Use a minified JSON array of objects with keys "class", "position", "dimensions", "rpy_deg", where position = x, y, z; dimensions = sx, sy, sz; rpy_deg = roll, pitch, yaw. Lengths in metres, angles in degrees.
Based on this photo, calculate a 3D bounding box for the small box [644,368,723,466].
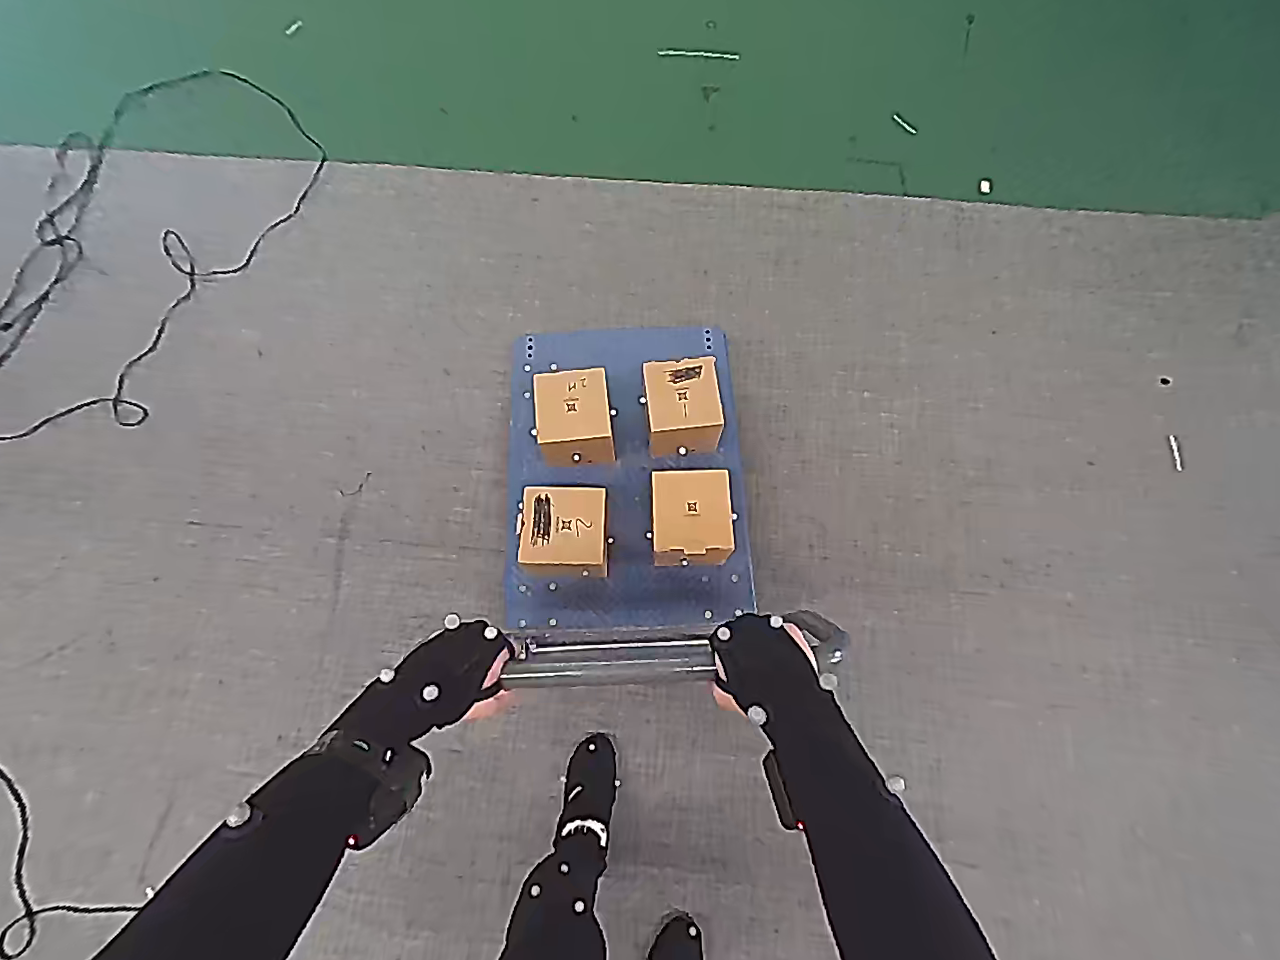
[{"class":"small box","position":[0.099,-0.150,1.316],"dimensions":[0.168,0.176,0.179],"rpy_deg":[-6,72,-1]}]

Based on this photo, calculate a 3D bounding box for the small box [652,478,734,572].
[{"class":"small box","position":[0.113,0.105,1.227],"dimensions":[0.168,0.176,0.179],"rpy_deg":[-2,71,0]}]

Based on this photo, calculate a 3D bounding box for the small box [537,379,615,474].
[{"class":"small box","position":[-0.151,-0.121,1.309],"dimensions":[0.168,0.176,0.179],"rpy_deg":[-6,71,-2]}]
